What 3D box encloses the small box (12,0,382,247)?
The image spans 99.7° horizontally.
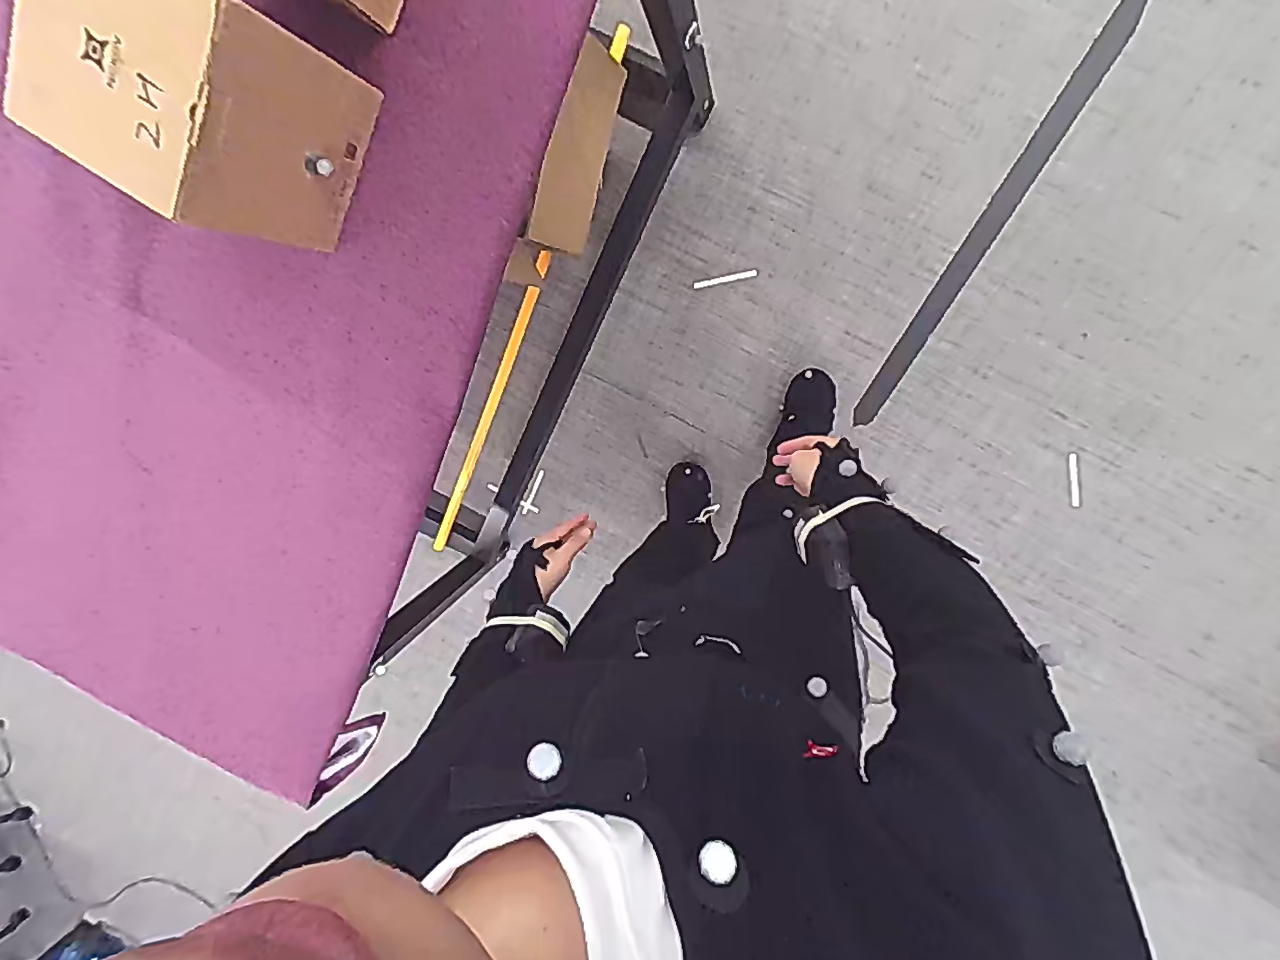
[{"bbox_3d":[-0.376,-0.332,0.482,0.179,0.176,0.168,32,109,4],"label":"small box"}]

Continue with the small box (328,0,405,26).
[{"bbox_3d":[-0.284,-0.509,0.416,0.179,0.176,0.168,32,109,4],"label":"small box"}]
